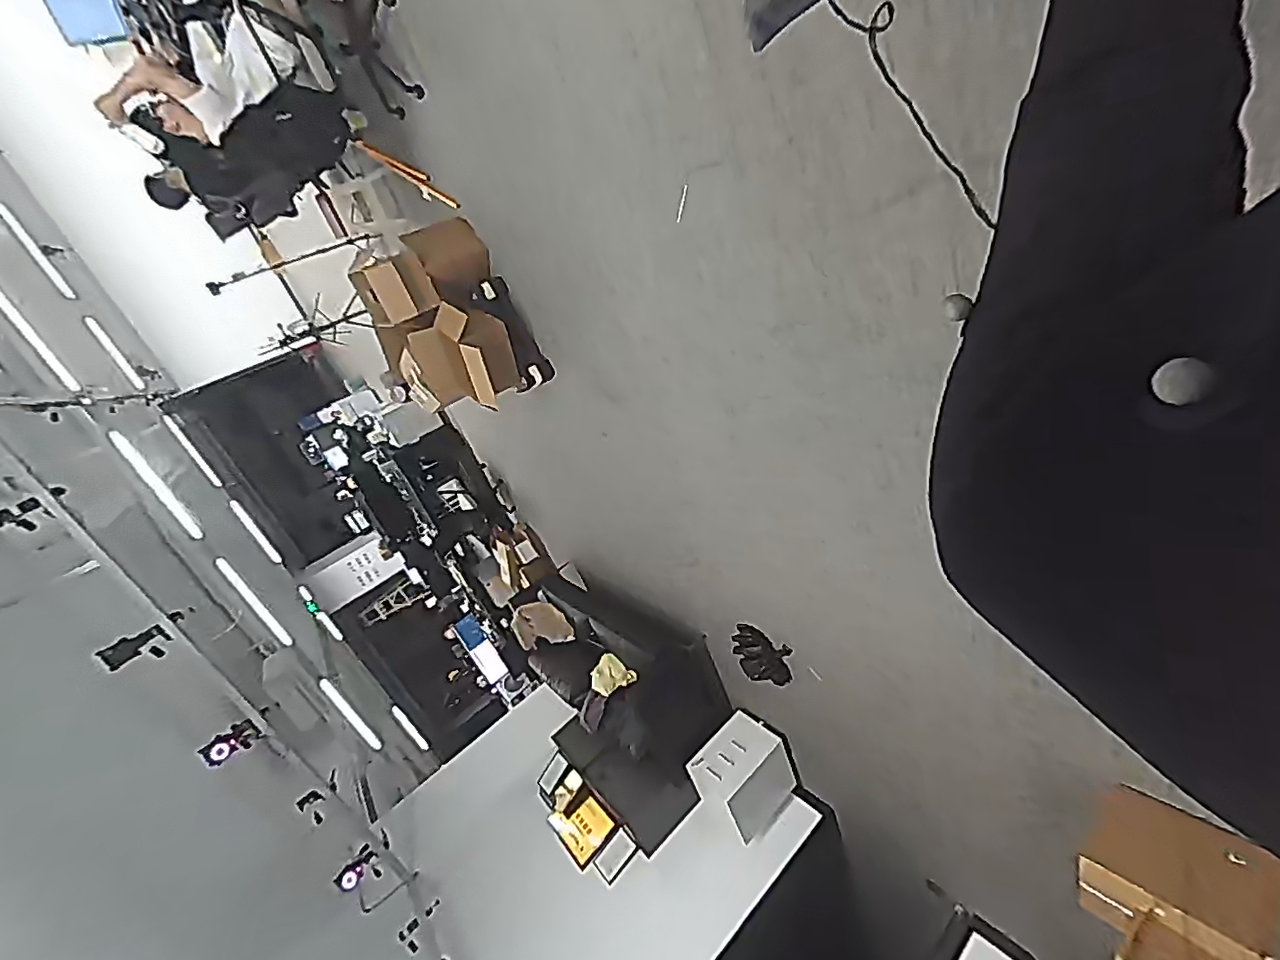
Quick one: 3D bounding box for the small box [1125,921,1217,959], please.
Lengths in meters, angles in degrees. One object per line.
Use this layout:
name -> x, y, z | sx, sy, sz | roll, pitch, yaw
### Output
small box -> 1.480, 1.384, 1.504 | 0.179, 0.176, 0.168 | 21, 134, 50
